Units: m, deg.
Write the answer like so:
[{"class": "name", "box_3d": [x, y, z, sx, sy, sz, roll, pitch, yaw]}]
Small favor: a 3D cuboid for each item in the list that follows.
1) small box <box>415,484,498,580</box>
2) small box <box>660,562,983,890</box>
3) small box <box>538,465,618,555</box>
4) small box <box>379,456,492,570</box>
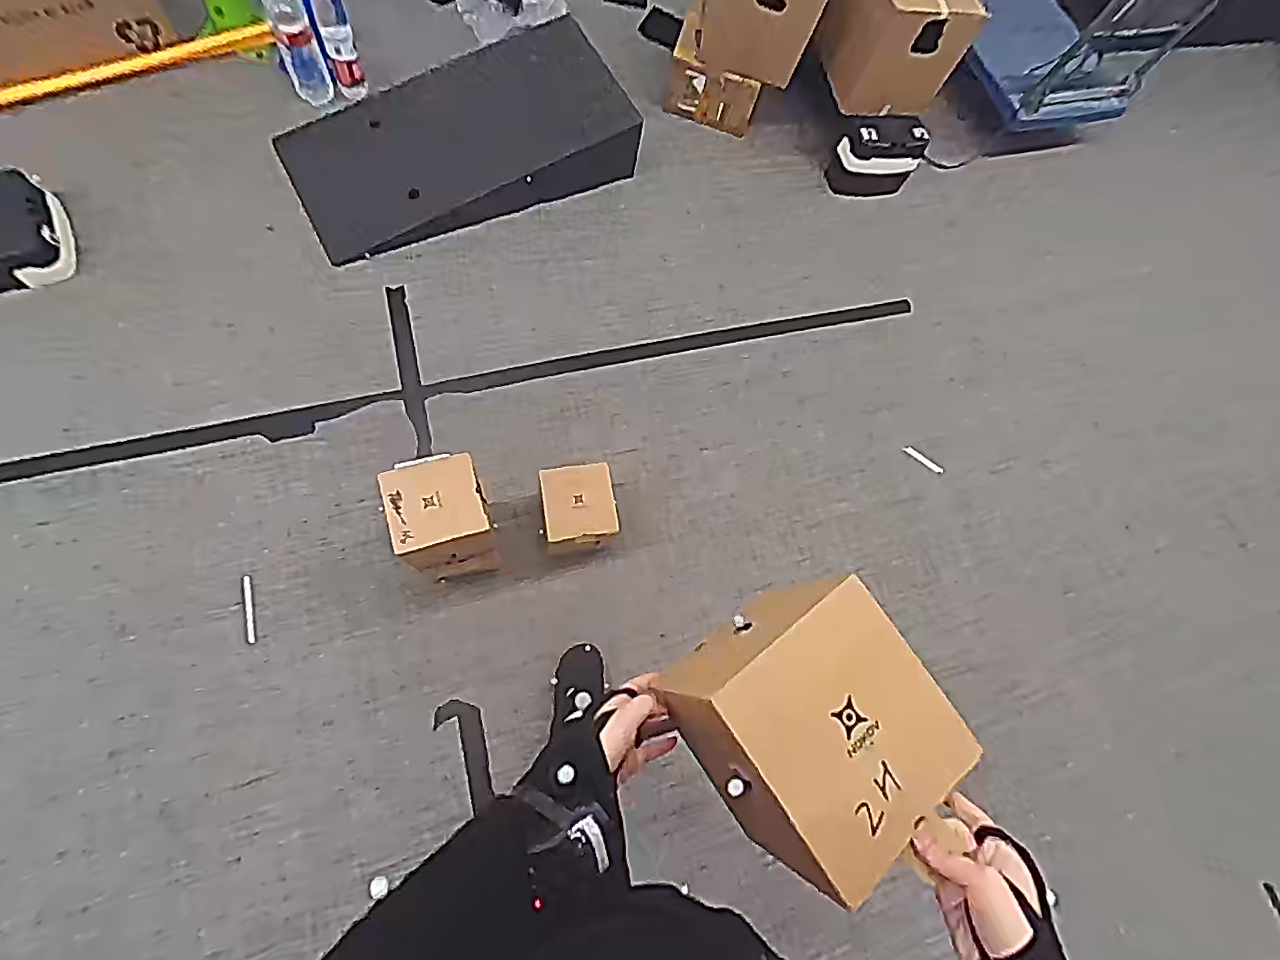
[{"class": "small box", "box_3d": [-0.425, 0.126, 1.244, 0.168, 0.176, 0.179, -10, 73, -14]}, {"class": "small box", "box_3d": [0.142, 0.200, 0.483, 0.168, 0.176, 0.179, -32, 84, -22]}, {"class": "small box", "box_3d": [-0.155, 0.079, 1.313, 0.168, 0.176, 0.179, -7, 72, -13]}, {"class": "small box", "box_3d": [-0.403, 0.071, 1.091, 0.179, 0.176, 0.168, -15, 74, -16]}]
